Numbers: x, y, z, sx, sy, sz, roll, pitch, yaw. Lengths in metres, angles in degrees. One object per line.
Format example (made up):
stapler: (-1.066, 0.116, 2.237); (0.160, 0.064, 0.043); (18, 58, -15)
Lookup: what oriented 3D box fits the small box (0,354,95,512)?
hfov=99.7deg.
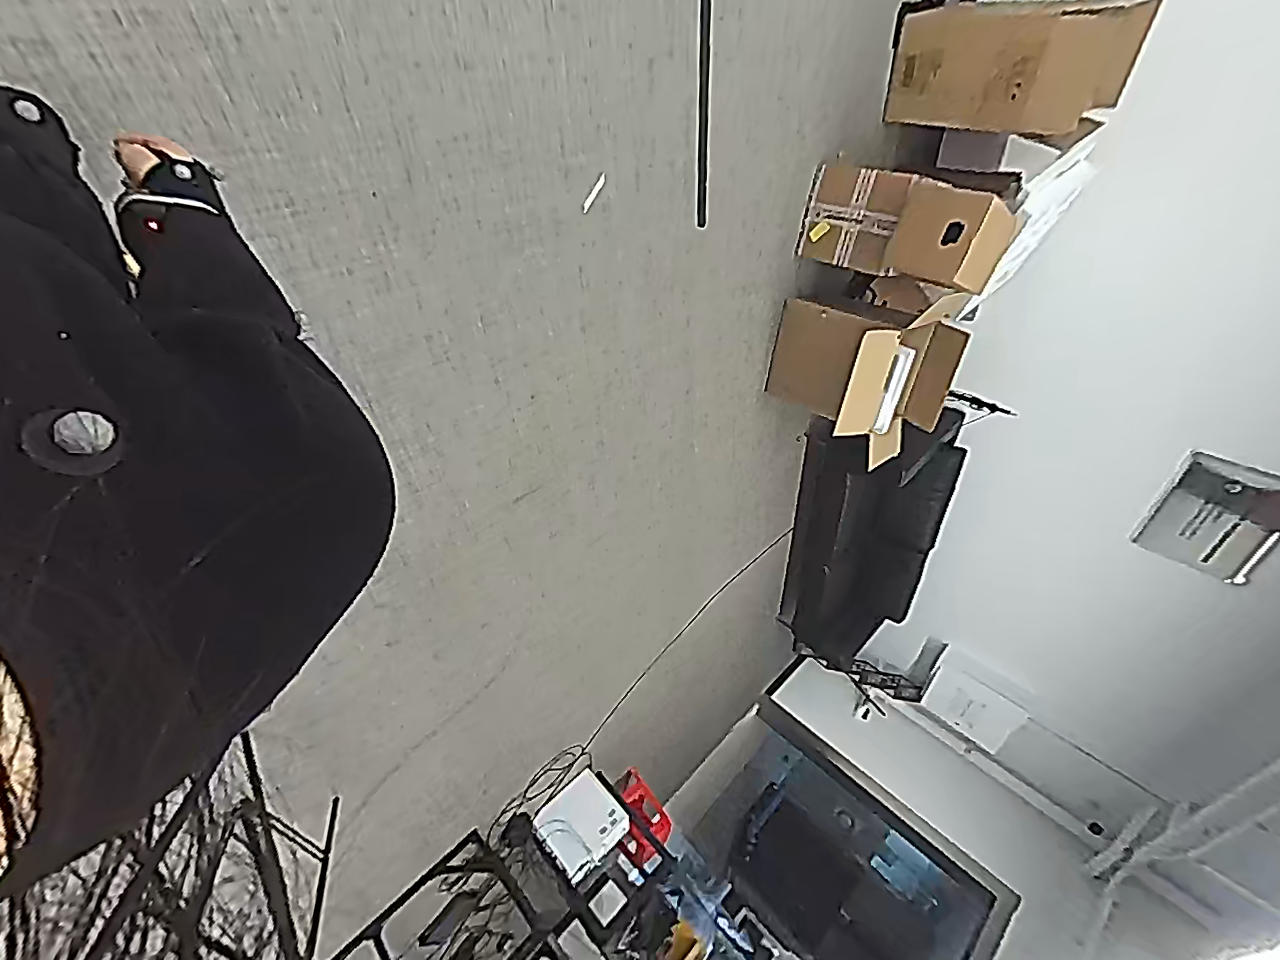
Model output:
small box: (-1.008, -0.073, 0.834); (0.168, 0.176, 0.179); (-37, 140, -28)
